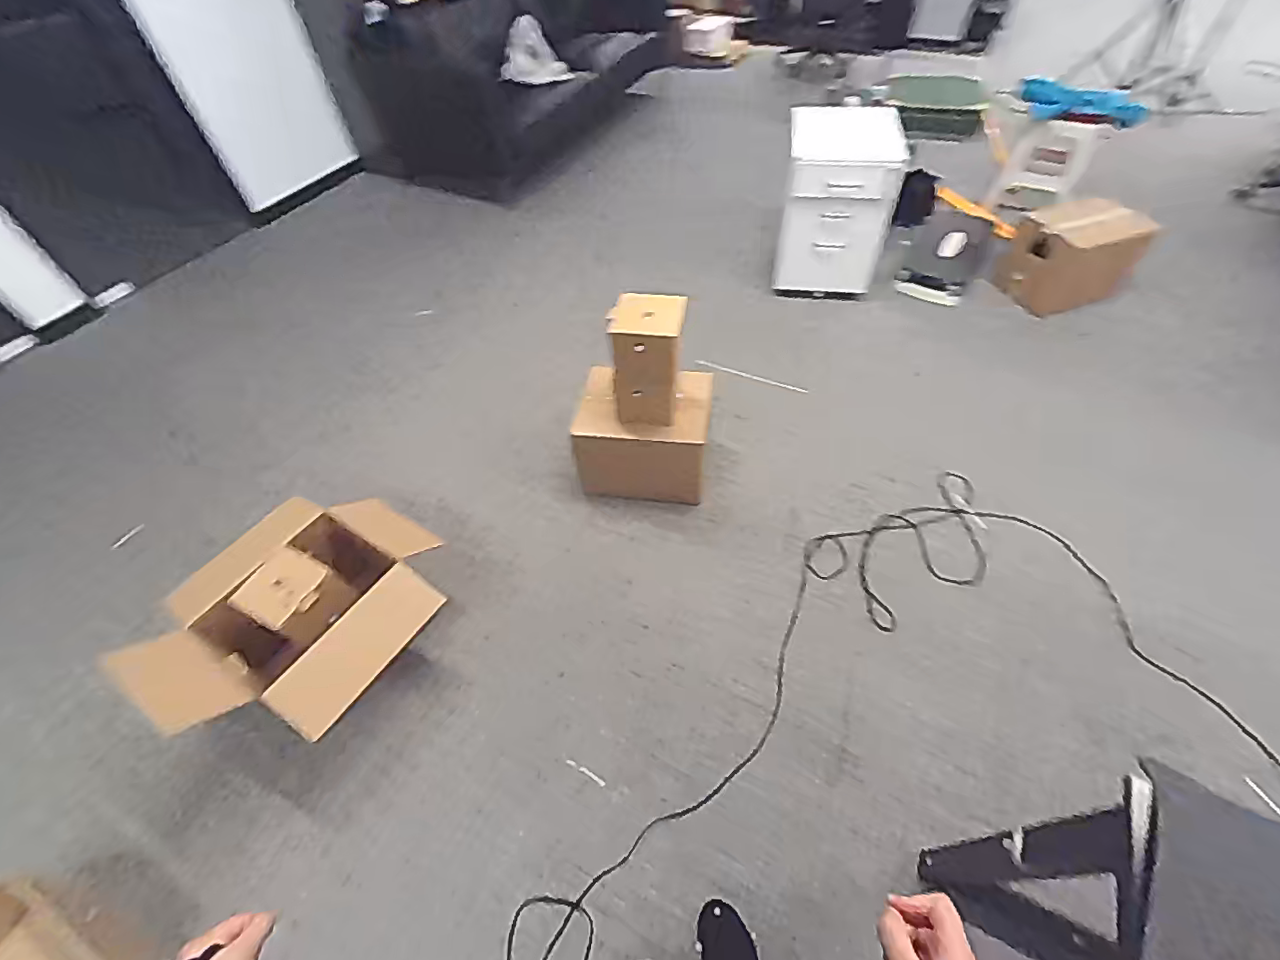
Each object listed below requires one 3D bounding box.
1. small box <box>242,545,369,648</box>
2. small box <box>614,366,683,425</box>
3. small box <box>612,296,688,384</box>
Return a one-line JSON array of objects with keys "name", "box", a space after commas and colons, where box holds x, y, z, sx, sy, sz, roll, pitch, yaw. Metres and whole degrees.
[{"name": "small box", "box": [-0.835, 0.299, 1.365, 0.179, 0.176, 0.168, 20, 58, 19]}, {"name": "small box", "box": [0.032, -0.280, 1.607, 0.179, 0.176, 0.168, 6, 54, 9]}, {"name": "small box", "box": [0.034, -0.377, 1.476, 0.179, 0.176, 0.168, 6, 54, 10]}]
